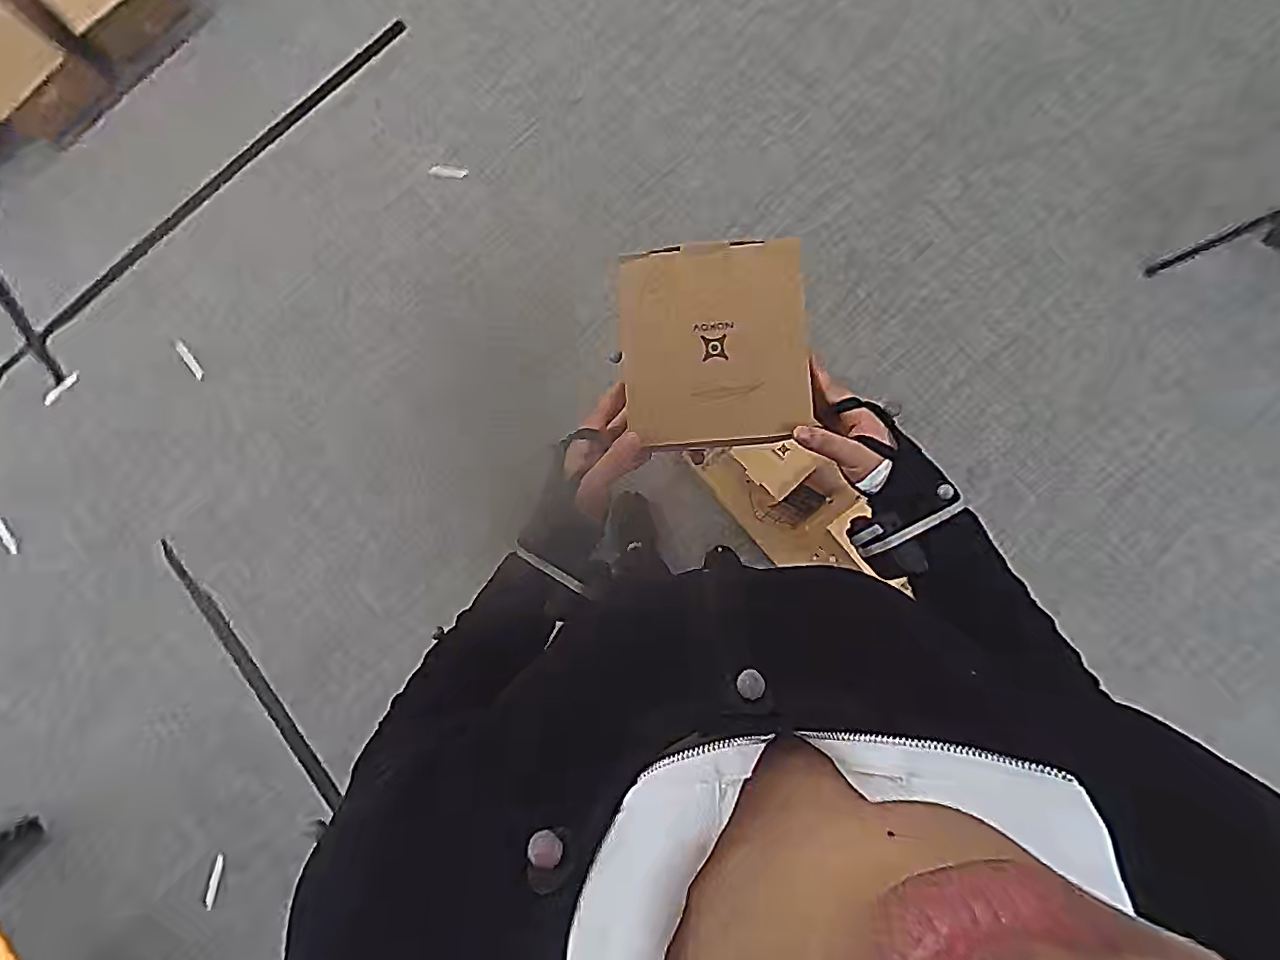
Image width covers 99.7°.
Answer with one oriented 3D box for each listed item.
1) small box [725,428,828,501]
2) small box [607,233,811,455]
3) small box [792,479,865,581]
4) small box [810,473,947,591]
[{"bbox_3d":[0.324,-0.062,1.324,0.179,0.176,0.168,-43,82,0],"label":"small box"},{"bbox_3d":[0.064,-0.123,0.558,0.168,0.176,0.179,-8,92,4],"label":"small box"},{"bbox_3d":[0.490,0.119,1.291,0.179,0.176,0.168,-41,82,0],"label":"small box"},{"bbox_3d":[0.483,0.107,1.127,0.179,0.176,0.168,-38,82,0],"label":"small box"}]
